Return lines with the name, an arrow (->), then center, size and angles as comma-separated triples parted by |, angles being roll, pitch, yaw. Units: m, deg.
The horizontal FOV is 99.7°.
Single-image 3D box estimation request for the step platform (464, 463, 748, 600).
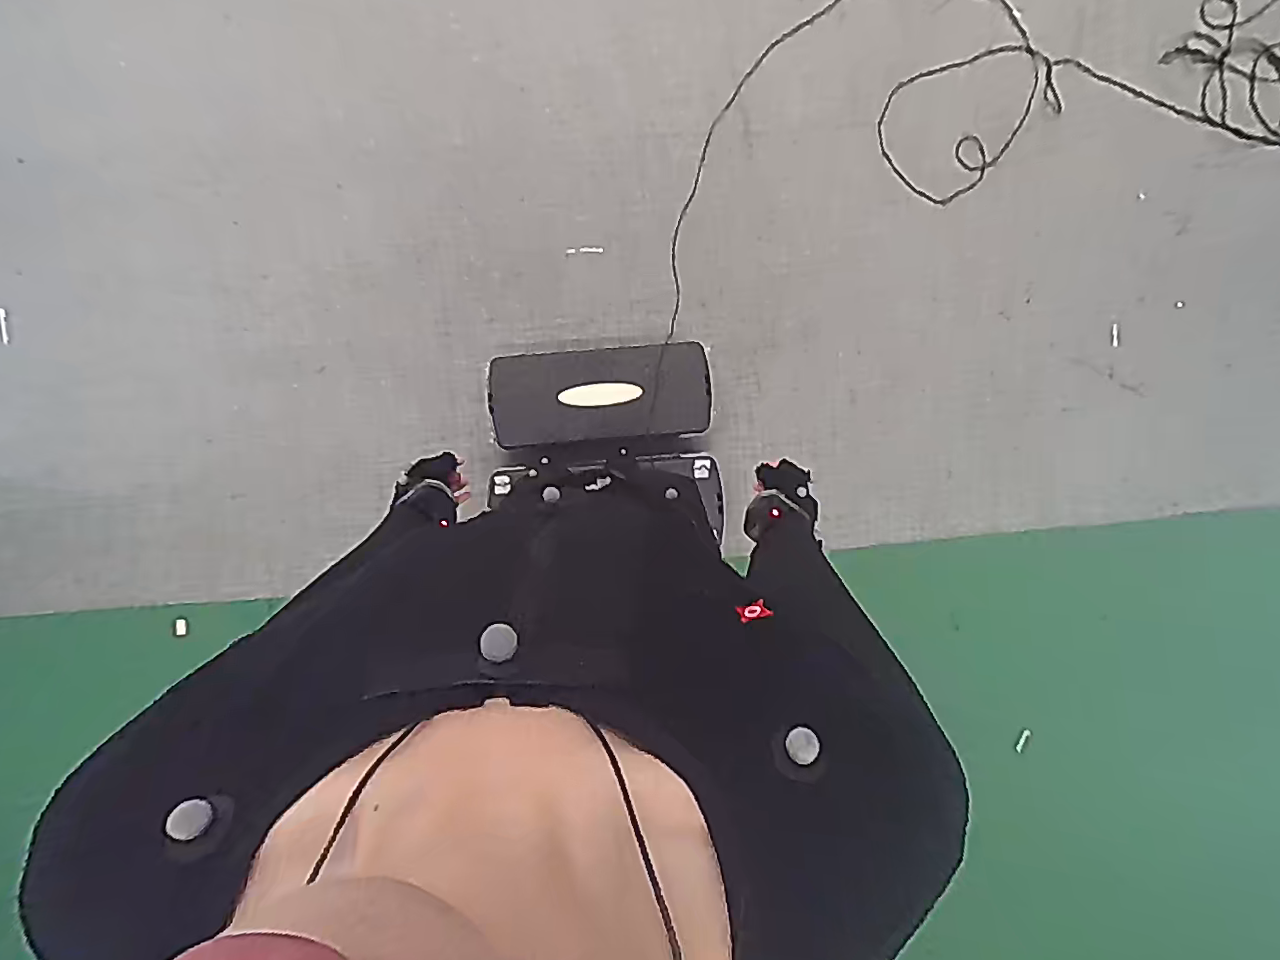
step platform -> -0.083, 0.123, 1.390 | 0.684, 0.204, 0.286 | -5, 91, -3
